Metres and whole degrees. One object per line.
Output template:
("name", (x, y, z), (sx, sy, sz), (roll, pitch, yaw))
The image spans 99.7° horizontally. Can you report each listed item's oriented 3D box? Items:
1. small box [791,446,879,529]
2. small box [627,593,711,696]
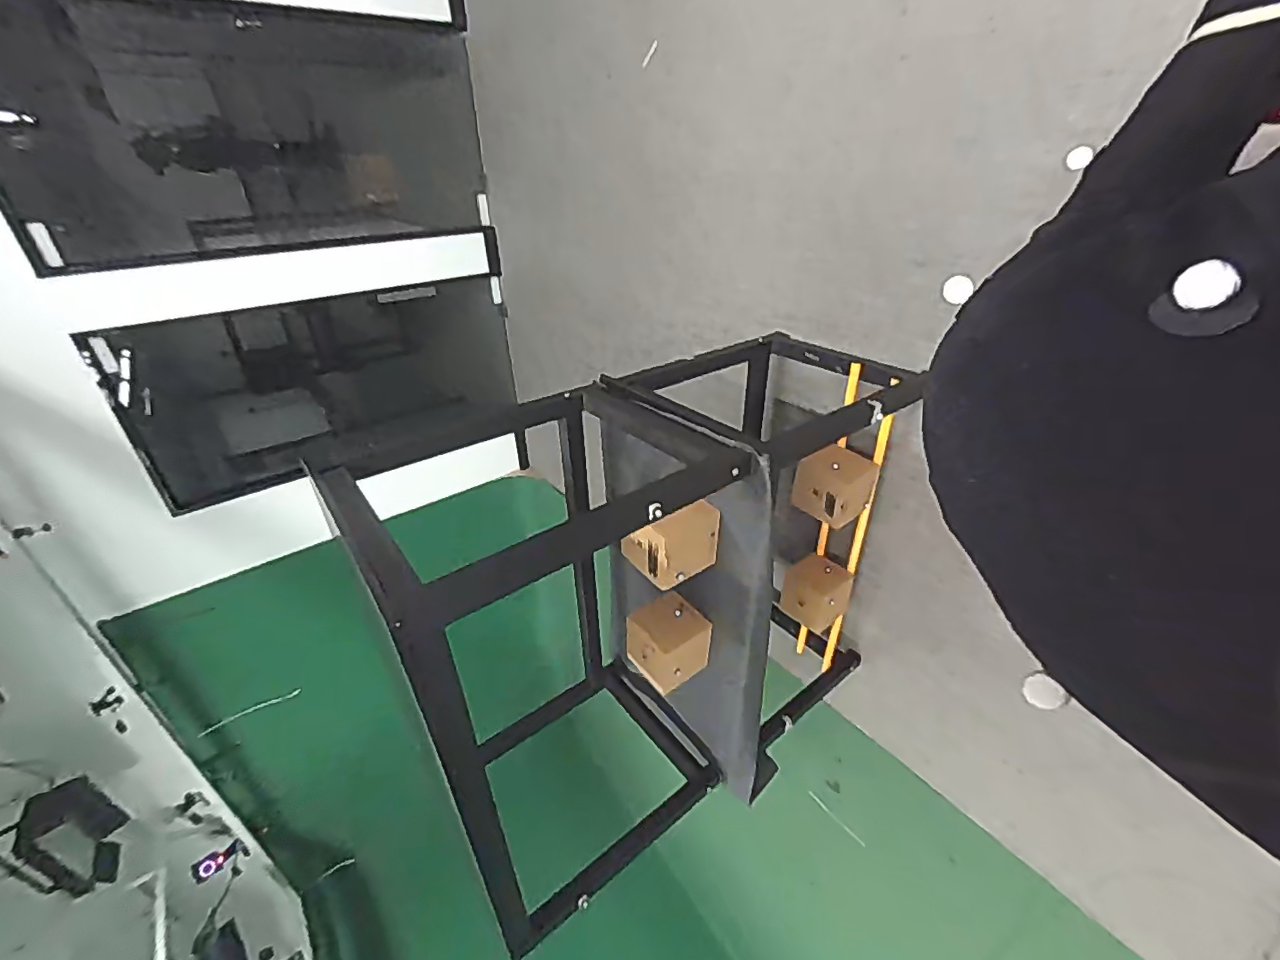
("small box", (0.592, 0.015, 1.641), (0.179, 0.176, 0.168), (35, 137, 40))
("small box", (0.079, 0.450, 1.499), (0.168, 0.176, 0.179), (36, 137, 40))
